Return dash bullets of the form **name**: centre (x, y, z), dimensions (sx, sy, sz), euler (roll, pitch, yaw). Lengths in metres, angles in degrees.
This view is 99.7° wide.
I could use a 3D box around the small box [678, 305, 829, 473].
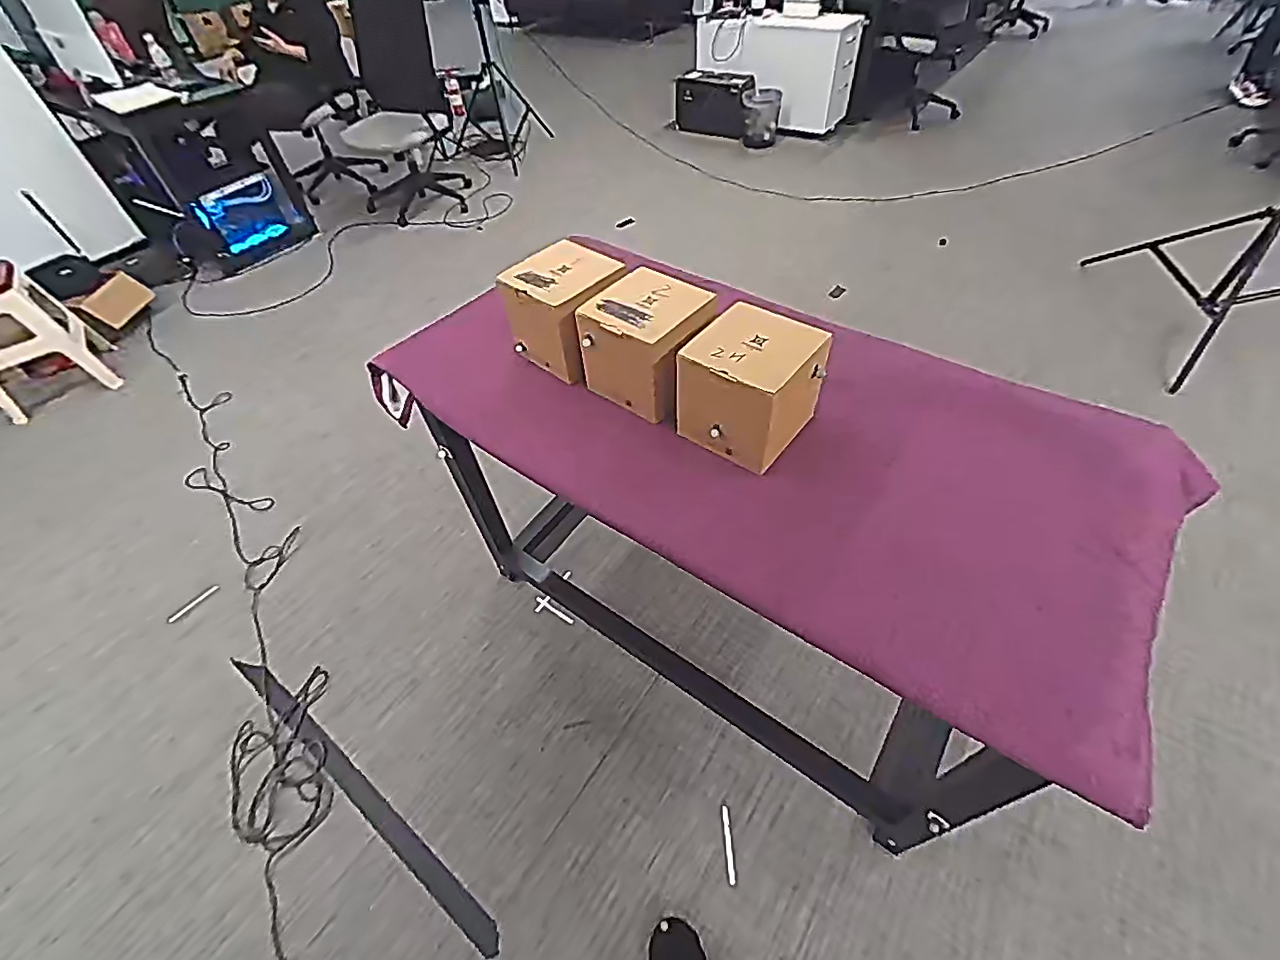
- **small box**: centre (0.173, -0.145, 0.864), dimensions (0.168, 0.176, 0.179), euler (29, 57, 27)
